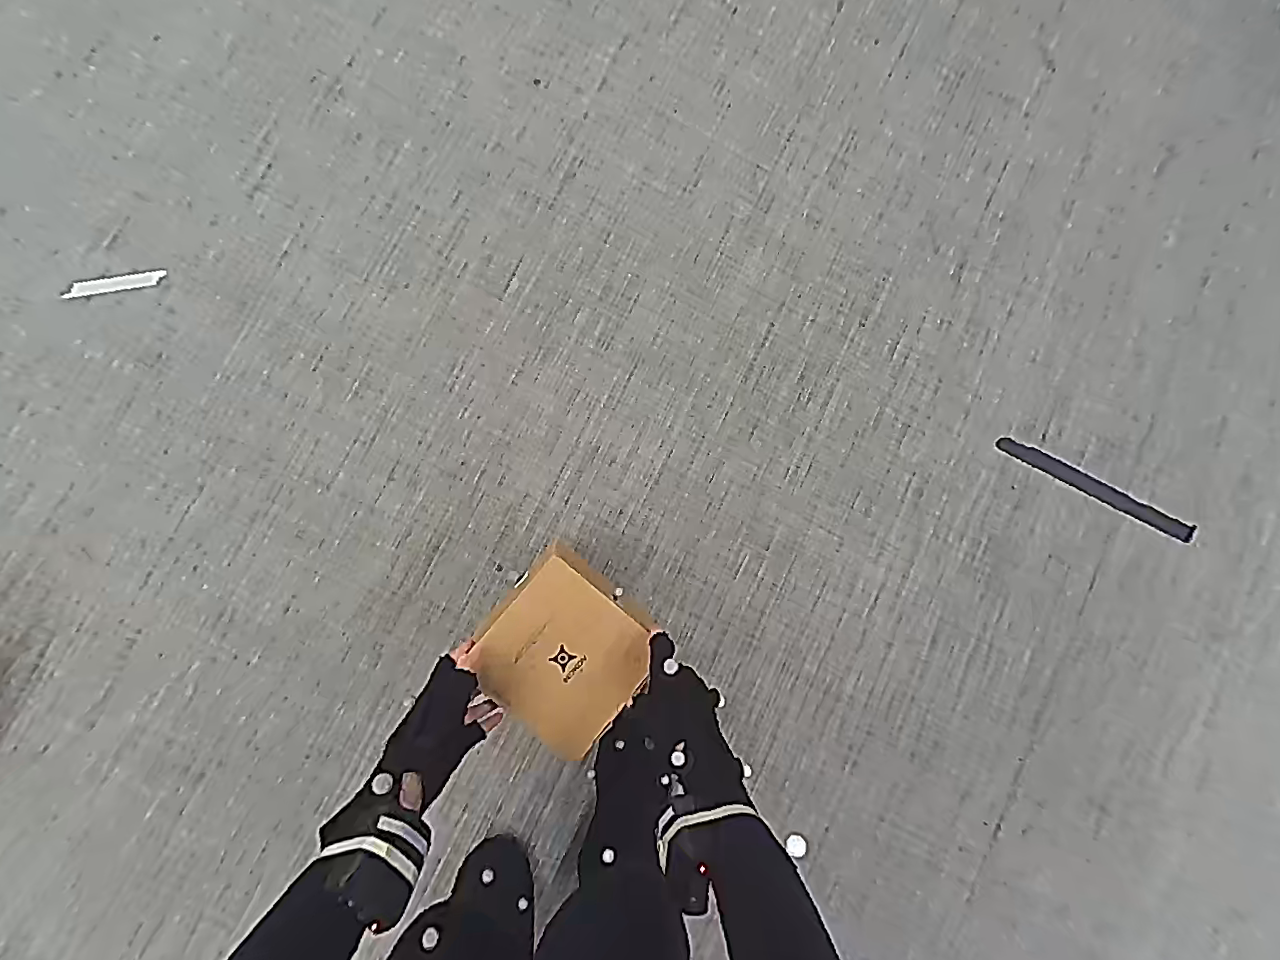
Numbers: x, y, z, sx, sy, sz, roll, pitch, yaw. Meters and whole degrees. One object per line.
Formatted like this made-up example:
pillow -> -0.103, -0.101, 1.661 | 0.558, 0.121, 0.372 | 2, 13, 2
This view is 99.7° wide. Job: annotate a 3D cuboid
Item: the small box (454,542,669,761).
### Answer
small box -> -0.093, 0.192, 0.667 | 0.179, 0.176, 0.168 | 41, 84, -6
